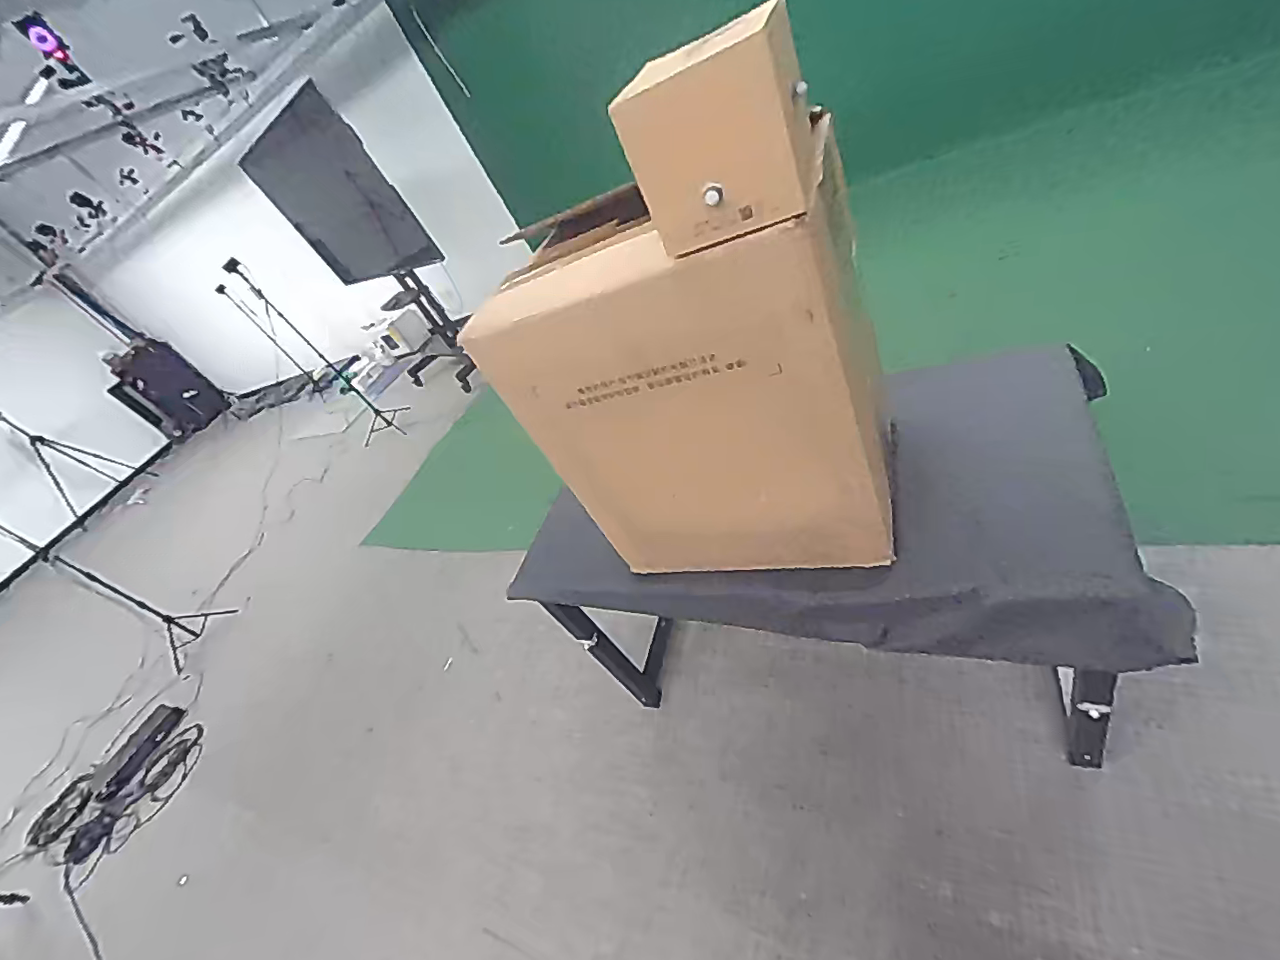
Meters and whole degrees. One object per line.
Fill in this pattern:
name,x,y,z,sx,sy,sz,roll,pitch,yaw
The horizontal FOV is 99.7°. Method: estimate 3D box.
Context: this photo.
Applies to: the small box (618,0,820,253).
small box,0.102,-0.390,0.612,0.168,0.176,0.179,-6,46,29
